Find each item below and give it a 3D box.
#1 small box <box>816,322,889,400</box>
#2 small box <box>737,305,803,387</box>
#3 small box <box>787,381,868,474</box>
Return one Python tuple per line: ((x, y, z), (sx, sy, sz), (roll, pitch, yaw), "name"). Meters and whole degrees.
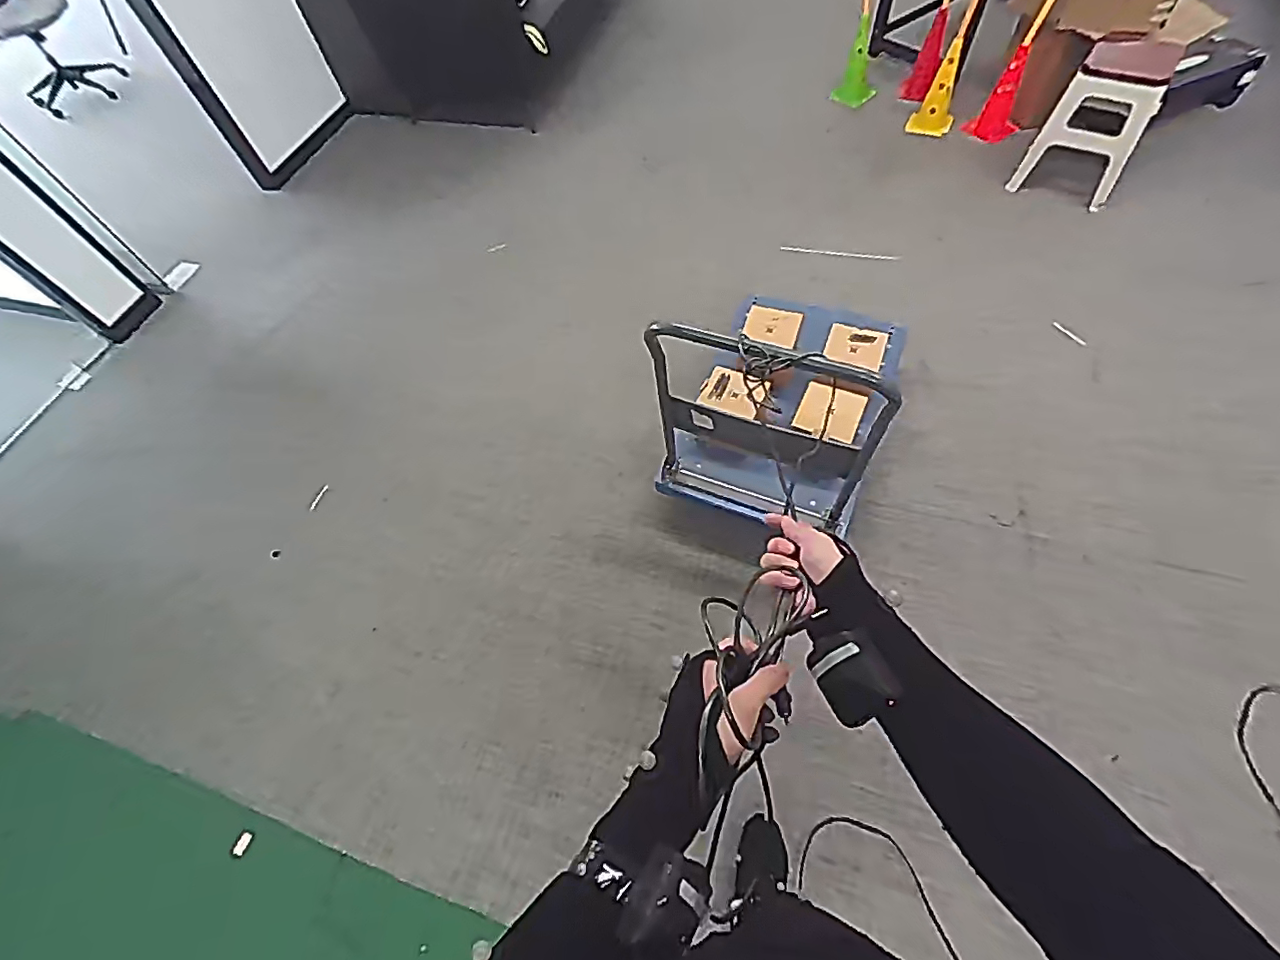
((0.645, -0.349, 1.661), (0.168, 0.176, 0.179), (17, 65, 18), "small box")
((0.414, -0.427, 1.738), (0.168, 0.176, 0.179), (16, 63, 15), "small box")
((0.536, -0.149, 1.563), (0.168, 0.176, 0.179), (21, 65, 18), "small box")
